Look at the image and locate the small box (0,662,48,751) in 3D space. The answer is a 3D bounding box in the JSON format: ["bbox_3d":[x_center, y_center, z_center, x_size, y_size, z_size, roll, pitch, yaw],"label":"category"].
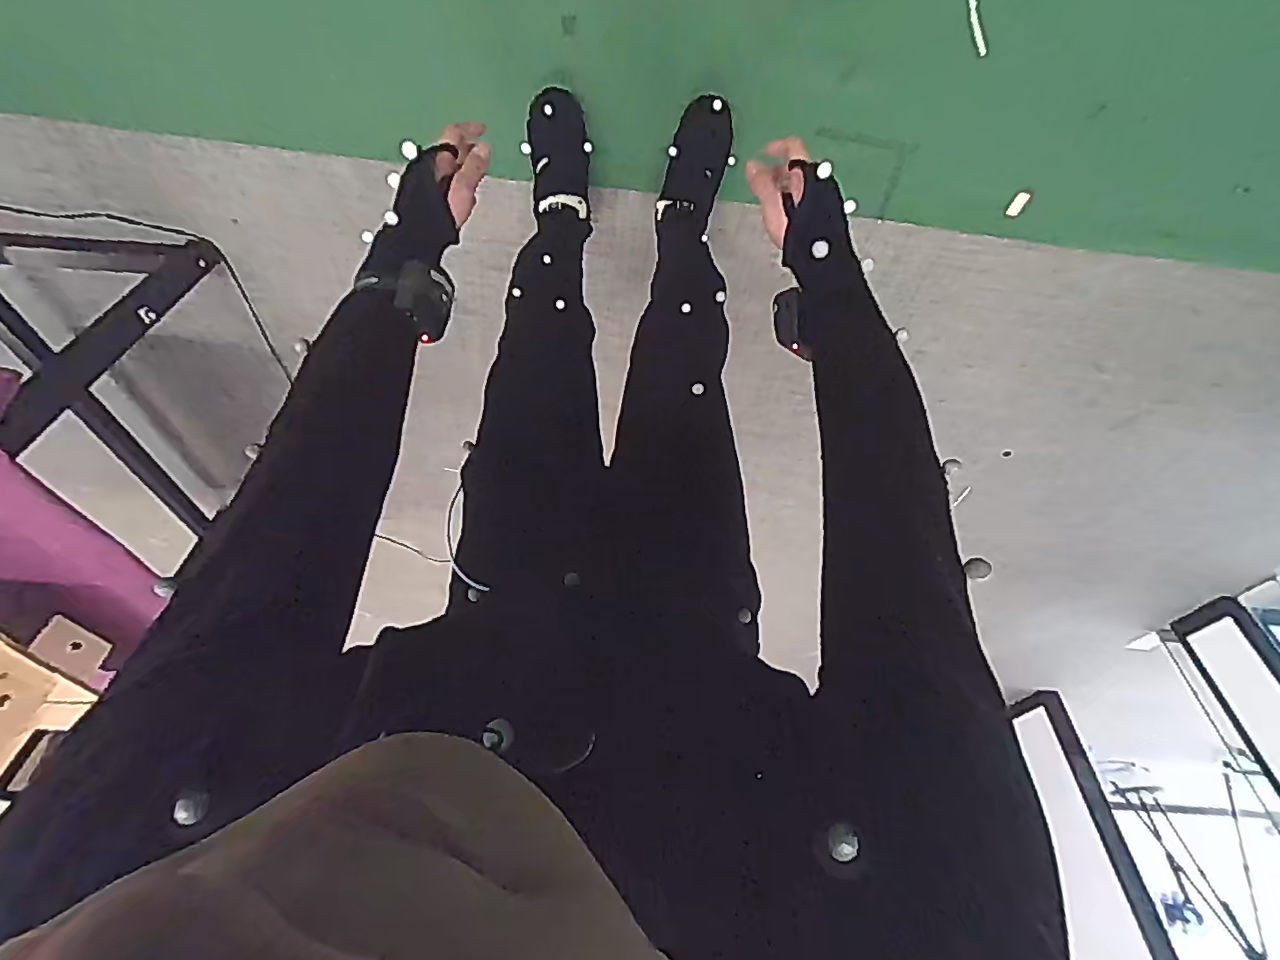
[{"bbox_3d":[-1.188,0.400,0.903,0.179,0.176,0.168,2,137,-1],"label":"small box"}]
